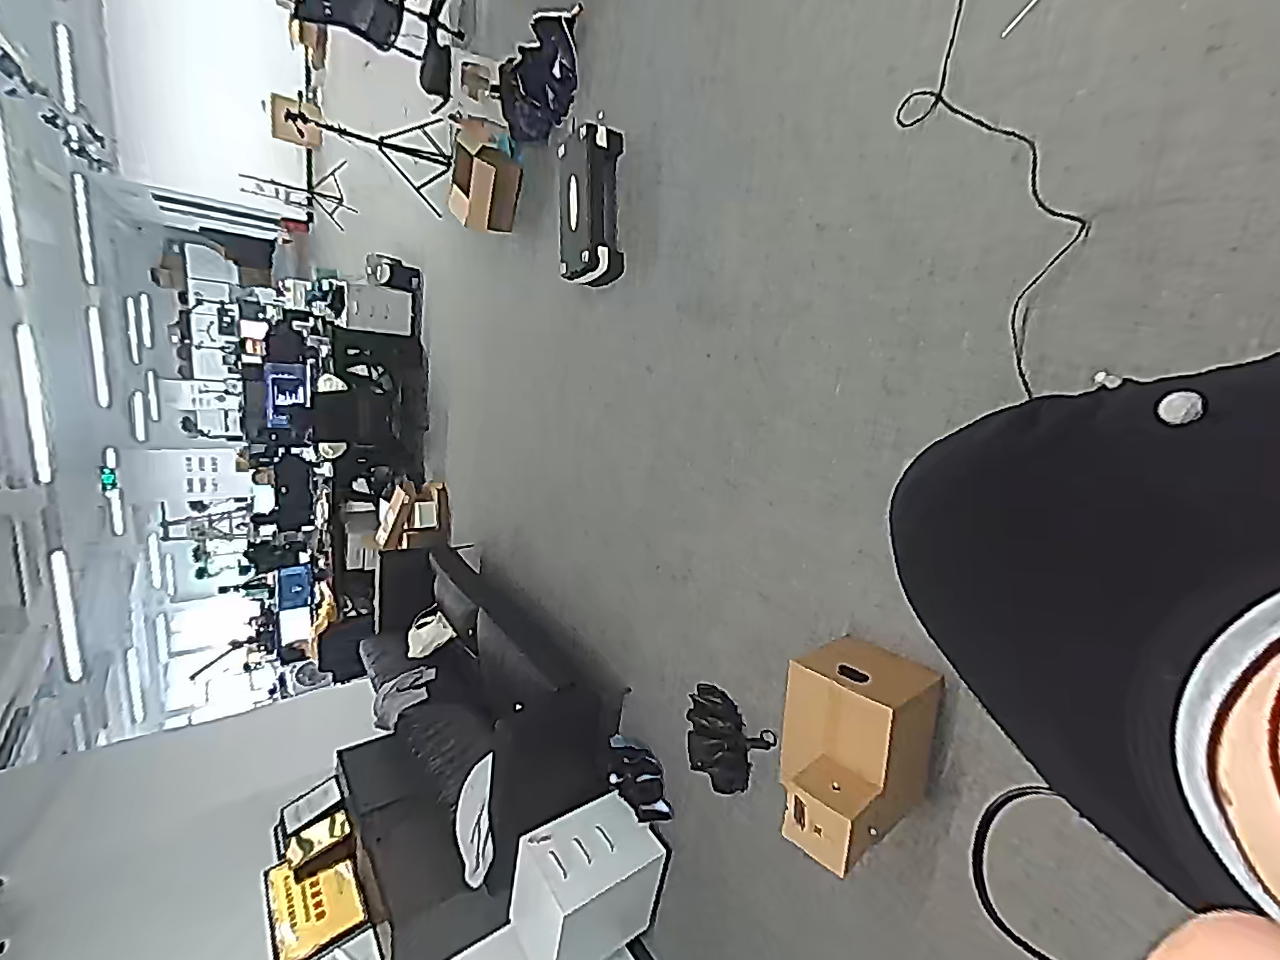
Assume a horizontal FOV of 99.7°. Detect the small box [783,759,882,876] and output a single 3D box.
[{"bbox_3d":[0.502,0.864,1.411,0.179,0.176,0.168,14,105,46],"label":"small box"}]
